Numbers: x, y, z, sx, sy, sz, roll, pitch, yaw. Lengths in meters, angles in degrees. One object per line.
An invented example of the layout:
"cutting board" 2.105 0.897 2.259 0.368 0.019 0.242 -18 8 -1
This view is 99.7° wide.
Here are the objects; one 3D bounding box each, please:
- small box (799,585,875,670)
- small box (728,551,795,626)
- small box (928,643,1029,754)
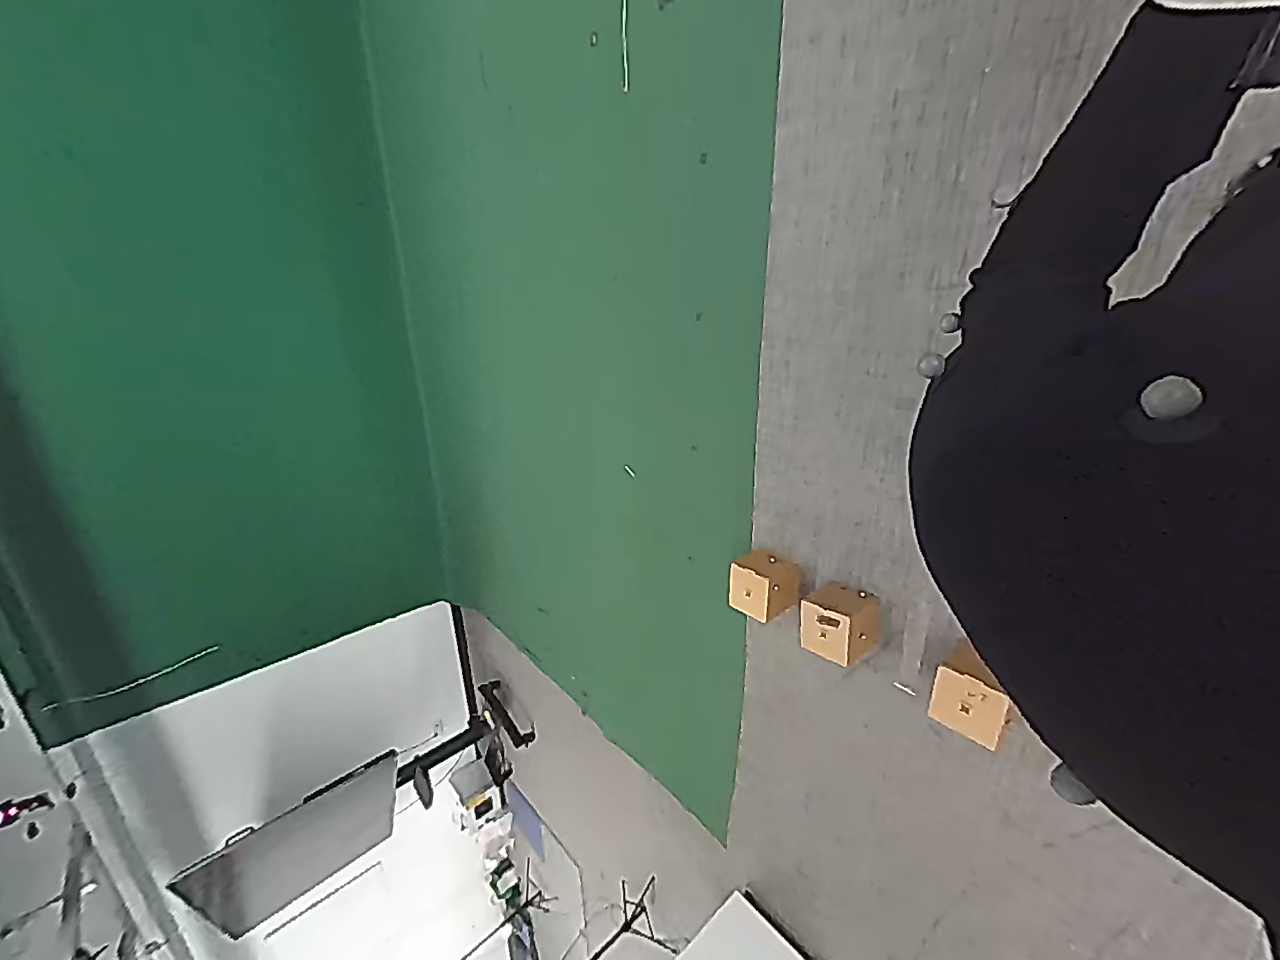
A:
"small box" 0.621 0.454 1.697 0.168 0.176 0.179 15 115 47
"small box" 0.429 0.376 1.904 0.168 0.176 0.179 20 117 45
"small box" 0.885 0.562 1.414 0.168 0.176 0.179 21 118 44
